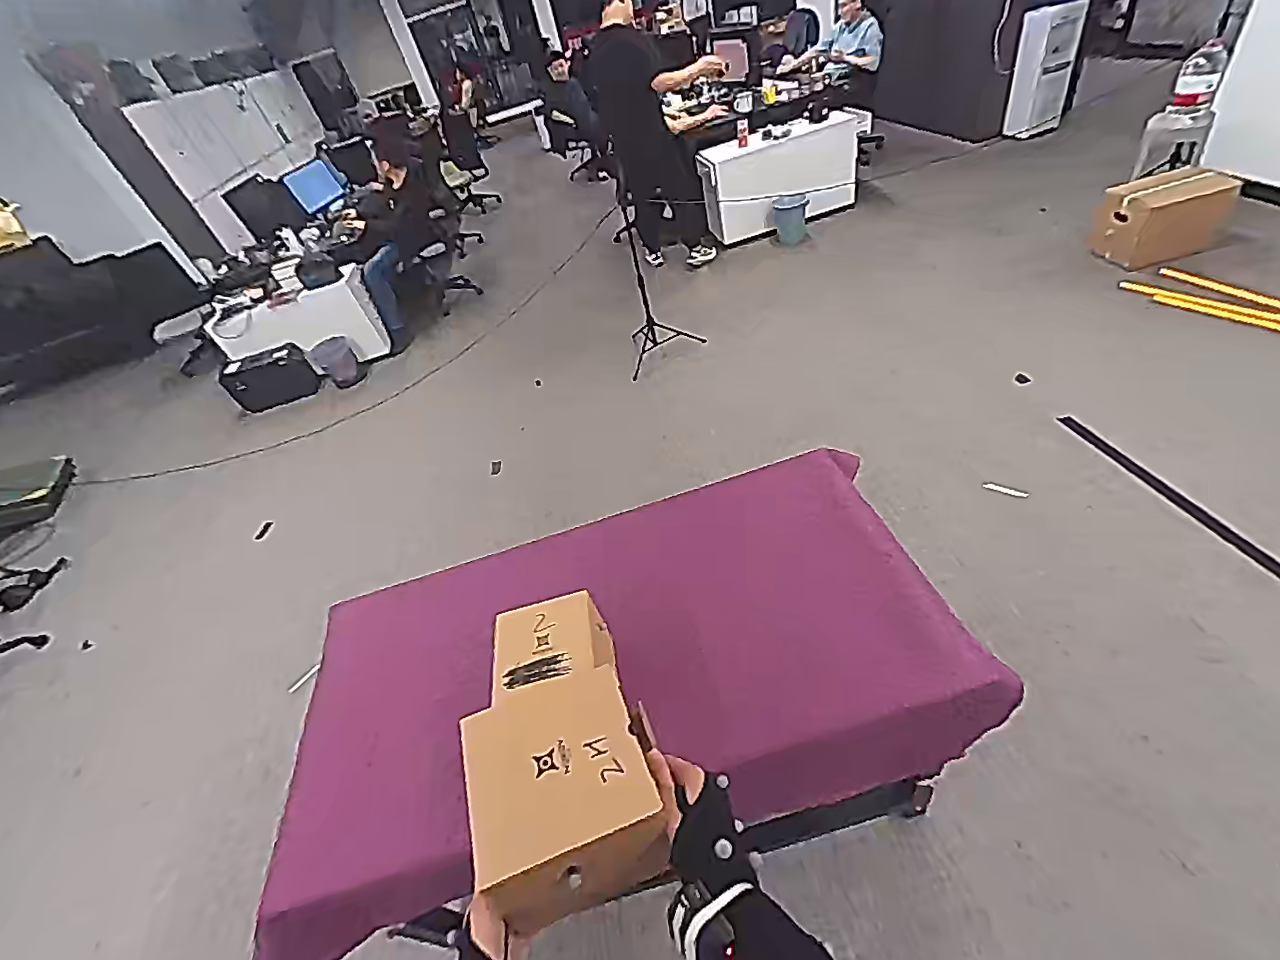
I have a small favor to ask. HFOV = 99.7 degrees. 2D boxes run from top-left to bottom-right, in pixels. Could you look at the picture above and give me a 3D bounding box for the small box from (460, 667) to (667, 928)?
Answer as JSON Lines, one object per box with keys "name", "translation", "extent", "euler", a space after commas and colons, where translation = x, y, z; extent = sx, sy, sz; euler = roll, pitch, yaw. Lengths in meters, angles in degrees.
{"name": "small box", "translation": [-0.080, 0.344, 0.590], "extent": [0.179, 0.176, 0.168], "euler": [-16, 40, -12]}
